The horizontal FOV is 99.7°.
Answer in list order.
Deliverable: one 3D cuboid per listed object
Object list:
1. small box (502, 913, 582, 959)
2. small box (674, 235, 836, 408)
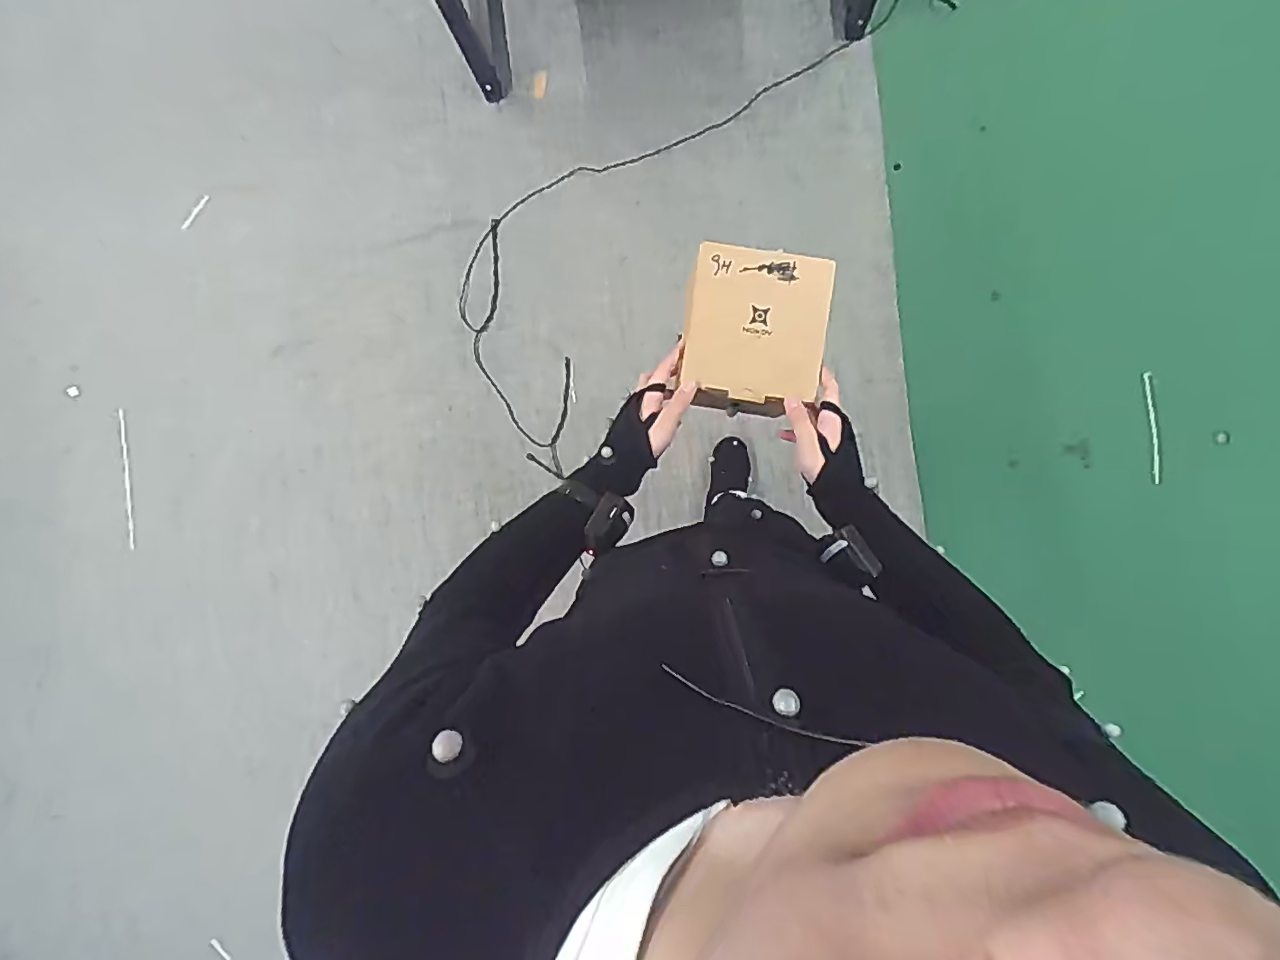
[{"bbox_3d":[-0.245,1.240,1.368,0.179,0.176,0.168,-4,87,5],"label":"small box"},{"bbox_3d":[0.139,-0.195,0.719,0.168,0.176,0.179,8,92,-1],"label":"small box"}]
